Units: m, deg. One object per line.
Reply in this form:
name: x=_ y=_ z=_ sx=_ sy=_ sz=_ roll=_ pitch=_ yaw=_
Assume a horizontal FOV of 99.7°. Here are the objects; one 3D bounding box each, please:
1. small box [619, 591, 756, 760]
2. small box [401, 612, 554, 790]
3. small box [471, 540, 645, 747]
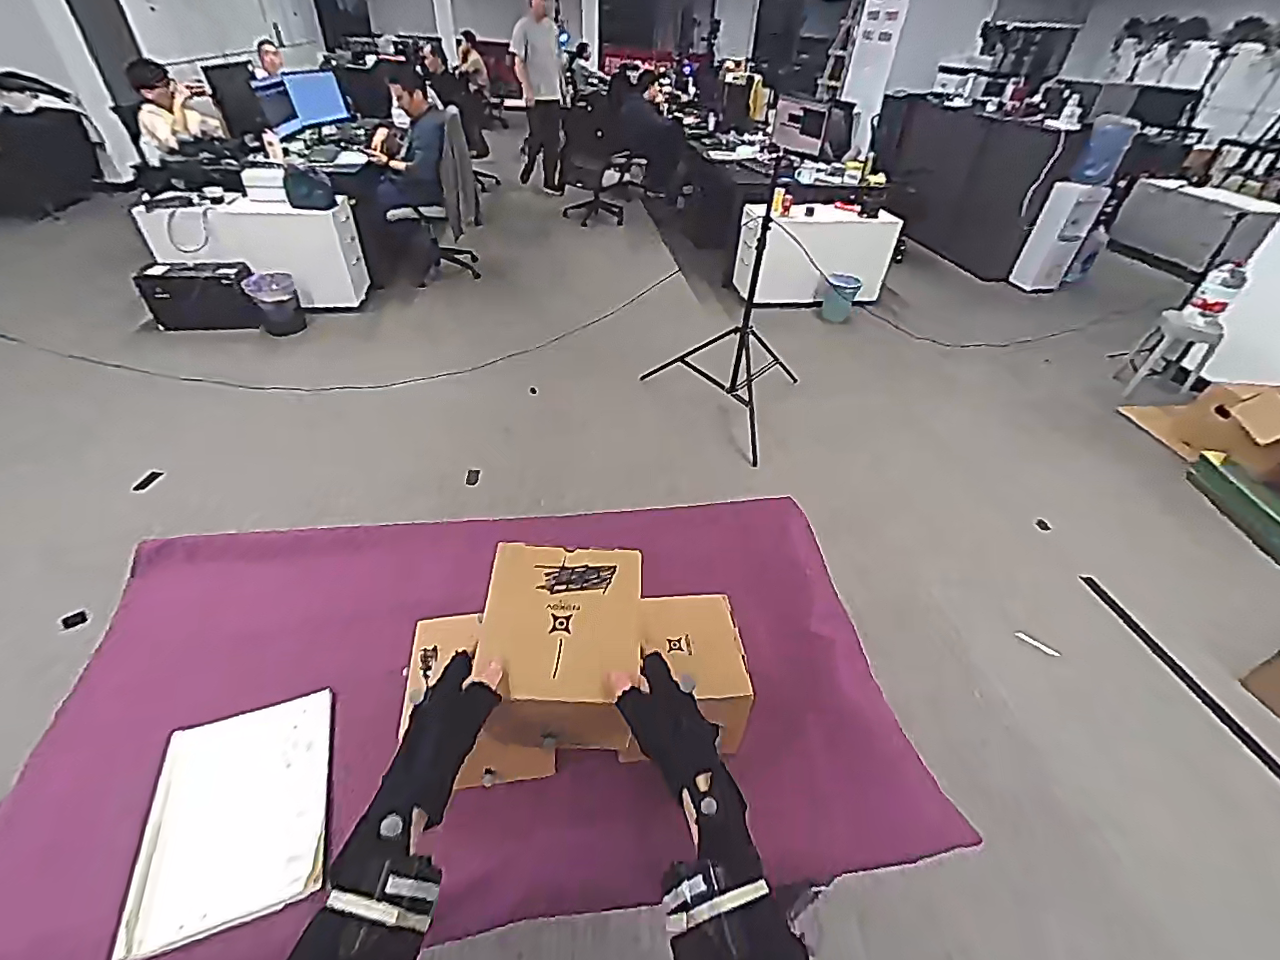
small box: x=0.053 y=0.284 z=0.787 sx=0.179 sy=0.176 sz=0.168 roll=-3 pitch=39 yaw=-5
small box: x=-0.209 y=0.300 z=0.746 sx=0.179 sy=0.176 sz=0.168 roll=-3 pitch=40 yaw=-10
small box: x=-0.085 y=0.190 z=0.622 sx=0.168 sy=0.176 sz=0.179 roll=4 pitch=51 yaw=-4
